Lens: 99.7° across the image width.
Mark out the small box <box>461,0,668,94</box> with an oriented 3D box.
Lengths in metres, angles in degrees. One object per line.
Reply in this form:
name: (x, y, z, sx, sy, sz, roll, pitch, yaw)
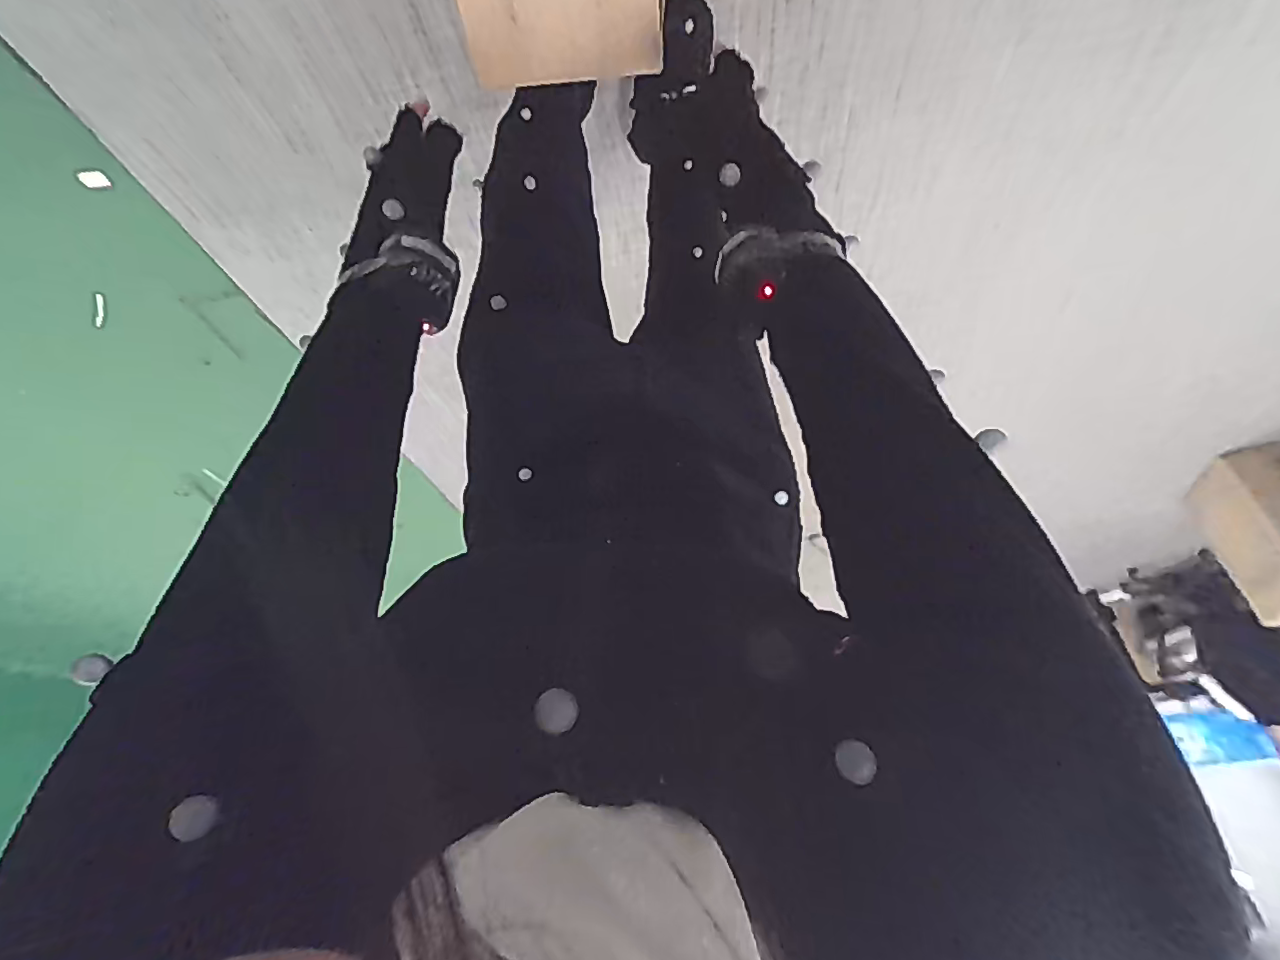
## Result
small box: (-0.071, -0.485, 0.486, 0.179, 0.176, 0.168, -5, 149, 0)
